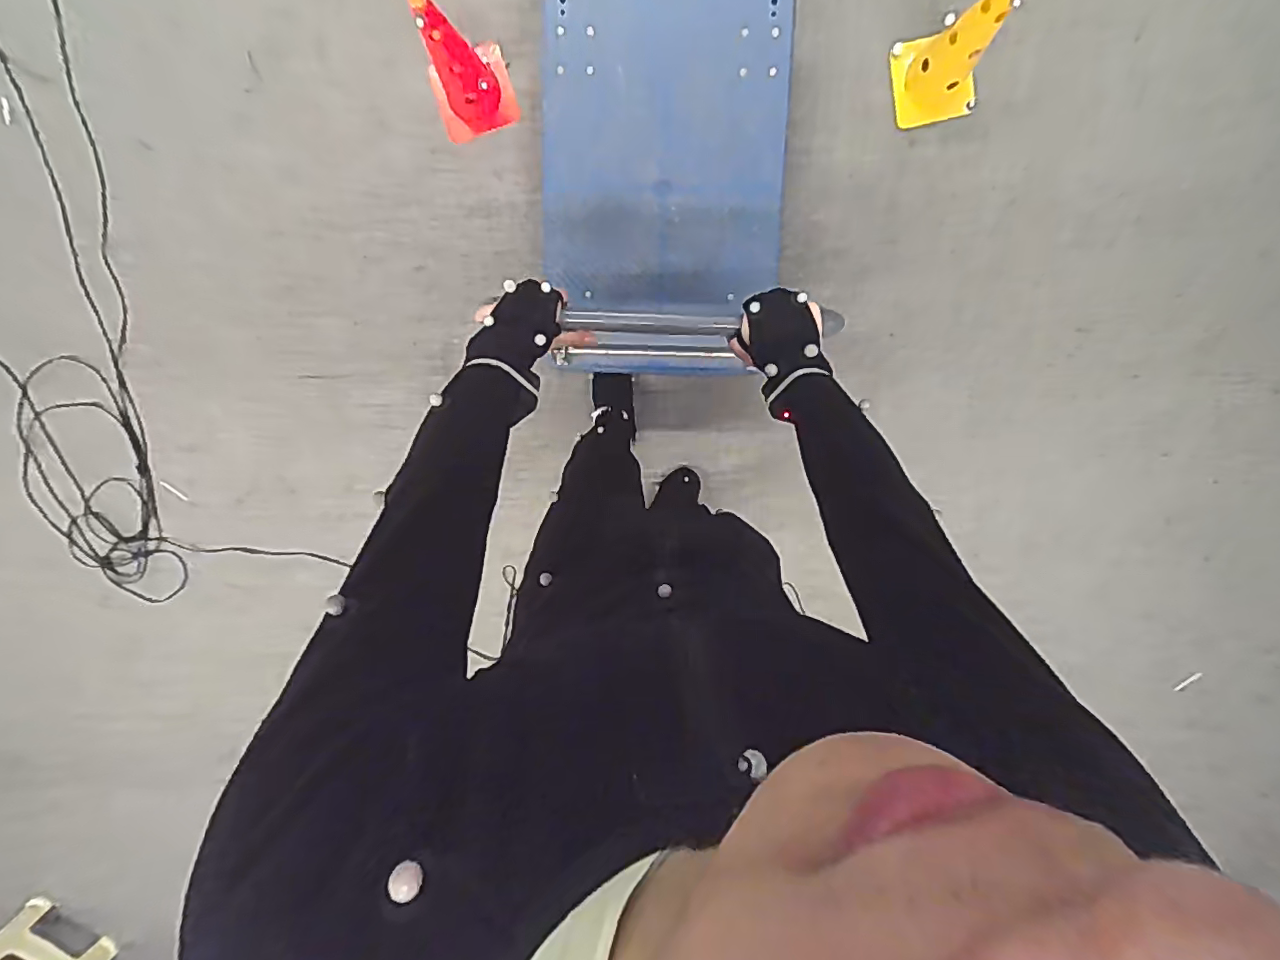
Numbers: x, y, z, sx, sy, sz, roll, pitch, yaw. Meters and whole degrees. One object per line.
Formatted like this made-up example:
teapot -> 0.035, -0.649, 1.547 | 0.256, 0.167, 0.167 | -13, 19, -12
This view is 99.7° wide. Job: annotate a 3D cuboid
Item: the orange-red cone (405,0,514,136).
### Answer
orange-red cone -> -0.447, -0.987, 1.238 | 0.199, 0.360, 0.198 | -15, 99, 5
